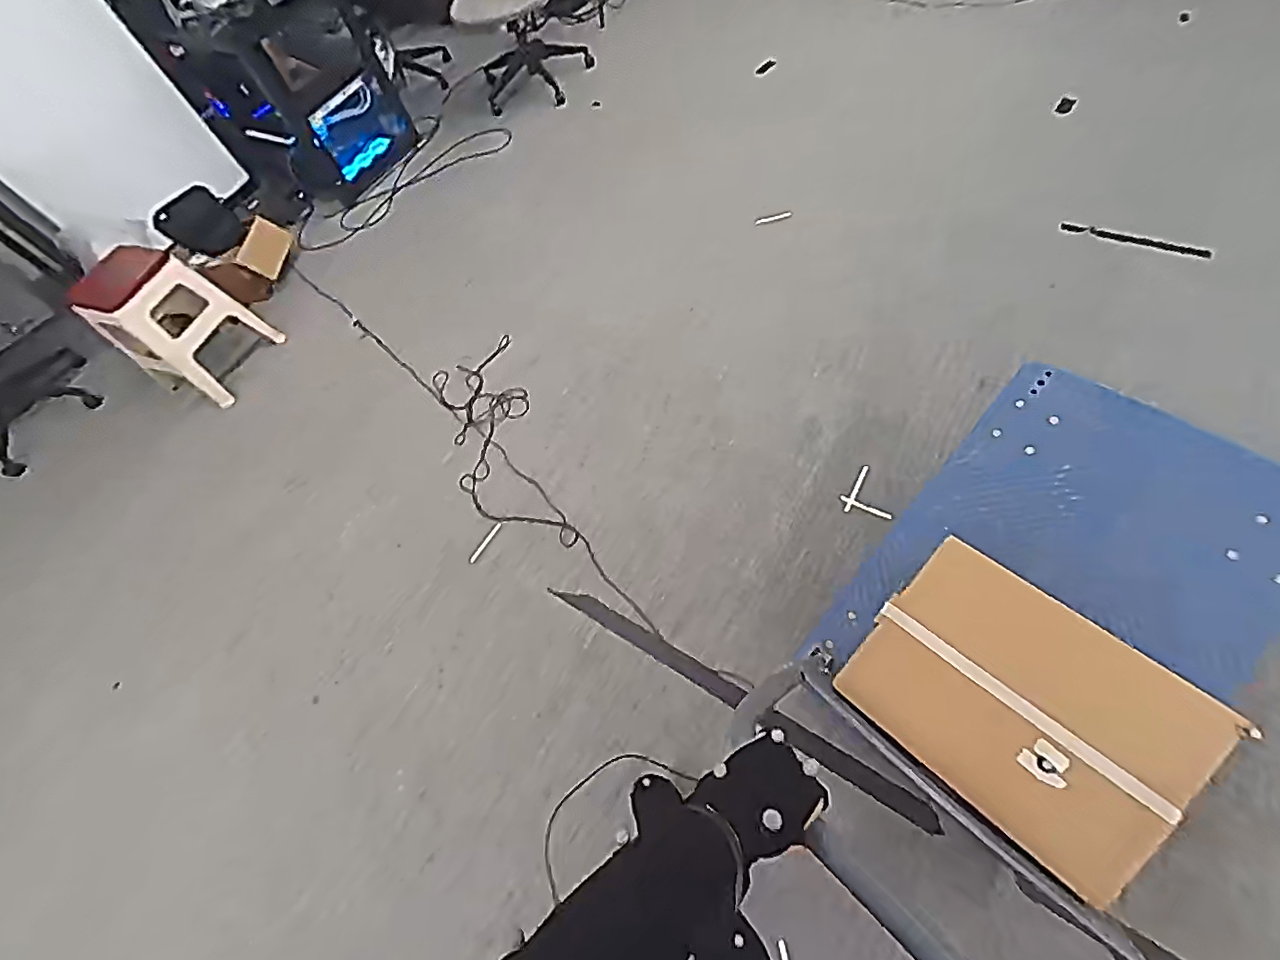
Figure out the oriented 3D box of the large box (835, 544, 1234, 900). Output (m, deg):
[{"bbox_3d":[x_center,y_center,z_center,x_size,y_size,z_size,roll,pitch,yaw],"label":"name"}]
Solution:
[{"bbox_3d":[0.599,0.367,0.927,0.408,0.320,0.320,38,91,27],"label":"large box"}]
